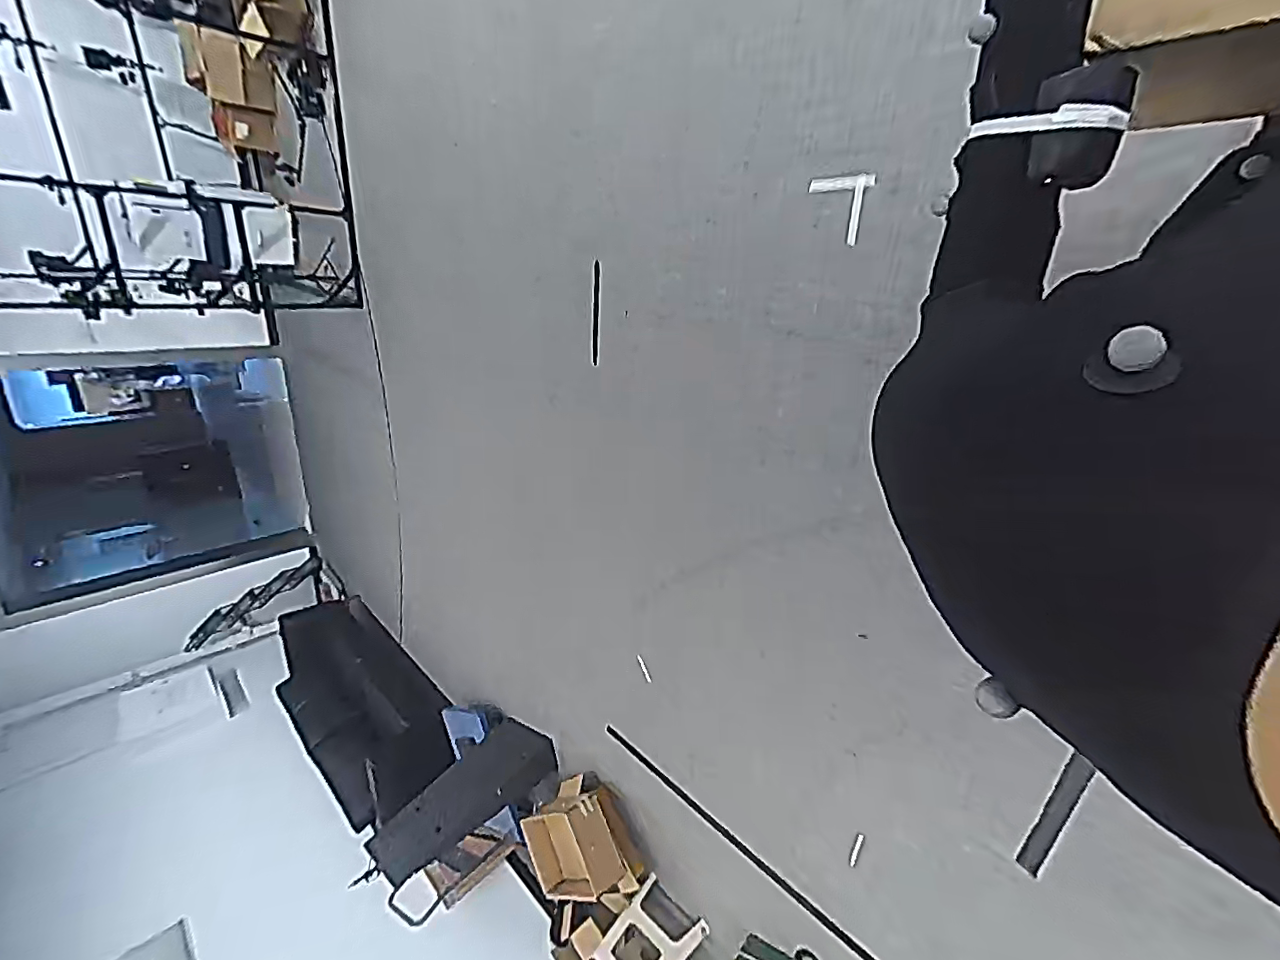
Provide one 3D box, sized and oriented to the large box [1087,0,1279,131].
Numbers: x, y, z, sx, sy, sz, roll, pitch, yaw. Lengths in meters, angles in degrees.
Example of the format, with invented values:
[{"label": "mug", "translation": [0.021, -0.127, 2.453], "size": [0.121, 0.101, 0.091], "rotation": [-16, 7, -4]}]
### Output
[{"label": "large box", "translation": [0.532, -0.415, 0.282], "size": [0.408, 0.320, 0.320], "rotation": [18, 119, 37]}]
